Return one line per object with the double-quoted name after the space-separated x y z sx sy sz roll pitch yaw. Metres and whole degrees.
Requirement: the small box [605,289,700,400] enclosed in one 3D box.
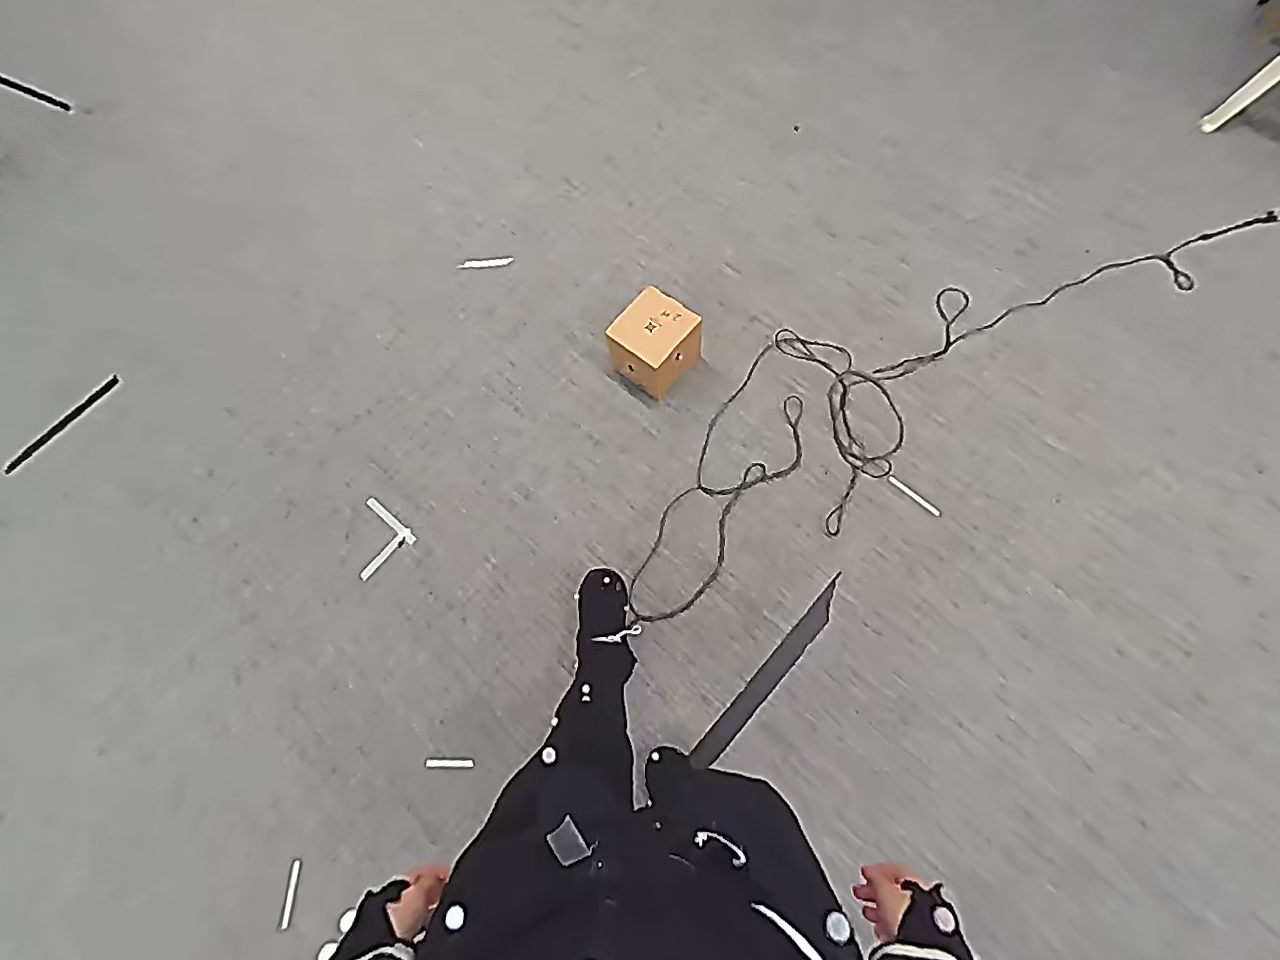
0.038 -0.335 1.369 0.168 0.176 0.179 38 78 15 "small box"
